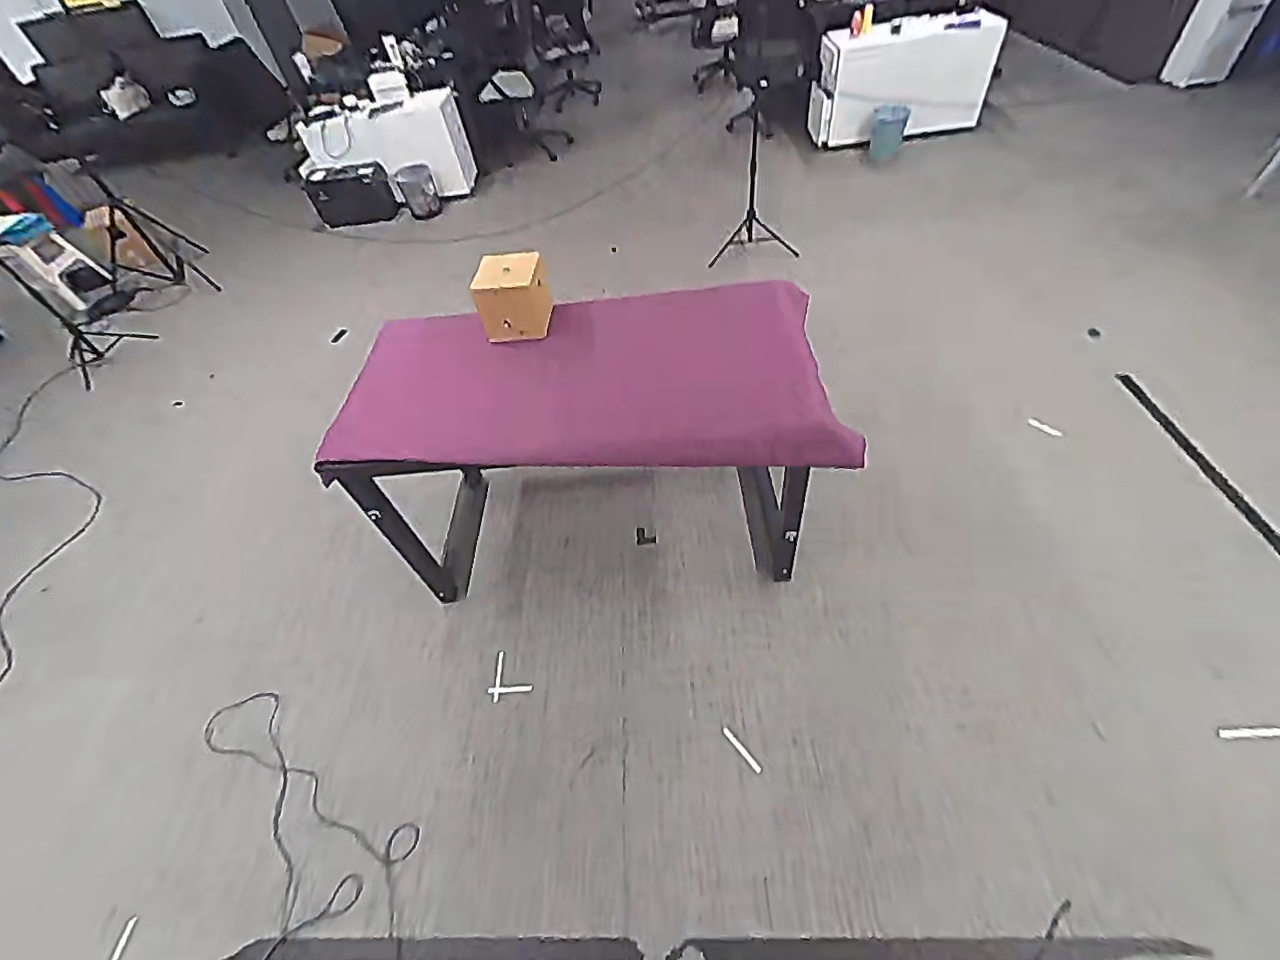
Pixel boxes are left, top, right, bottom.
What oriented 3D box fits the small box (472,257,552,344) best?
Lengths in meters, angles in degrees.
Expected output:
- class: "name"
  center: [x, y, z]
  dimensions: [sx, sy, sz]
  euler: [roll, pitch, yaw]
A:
- class: "small box"
  center: [-0.352, -0.507, 1.532]
  dimensions: [0.168, 0.176, 0.179]
  euler: [-2, 50, 6]
